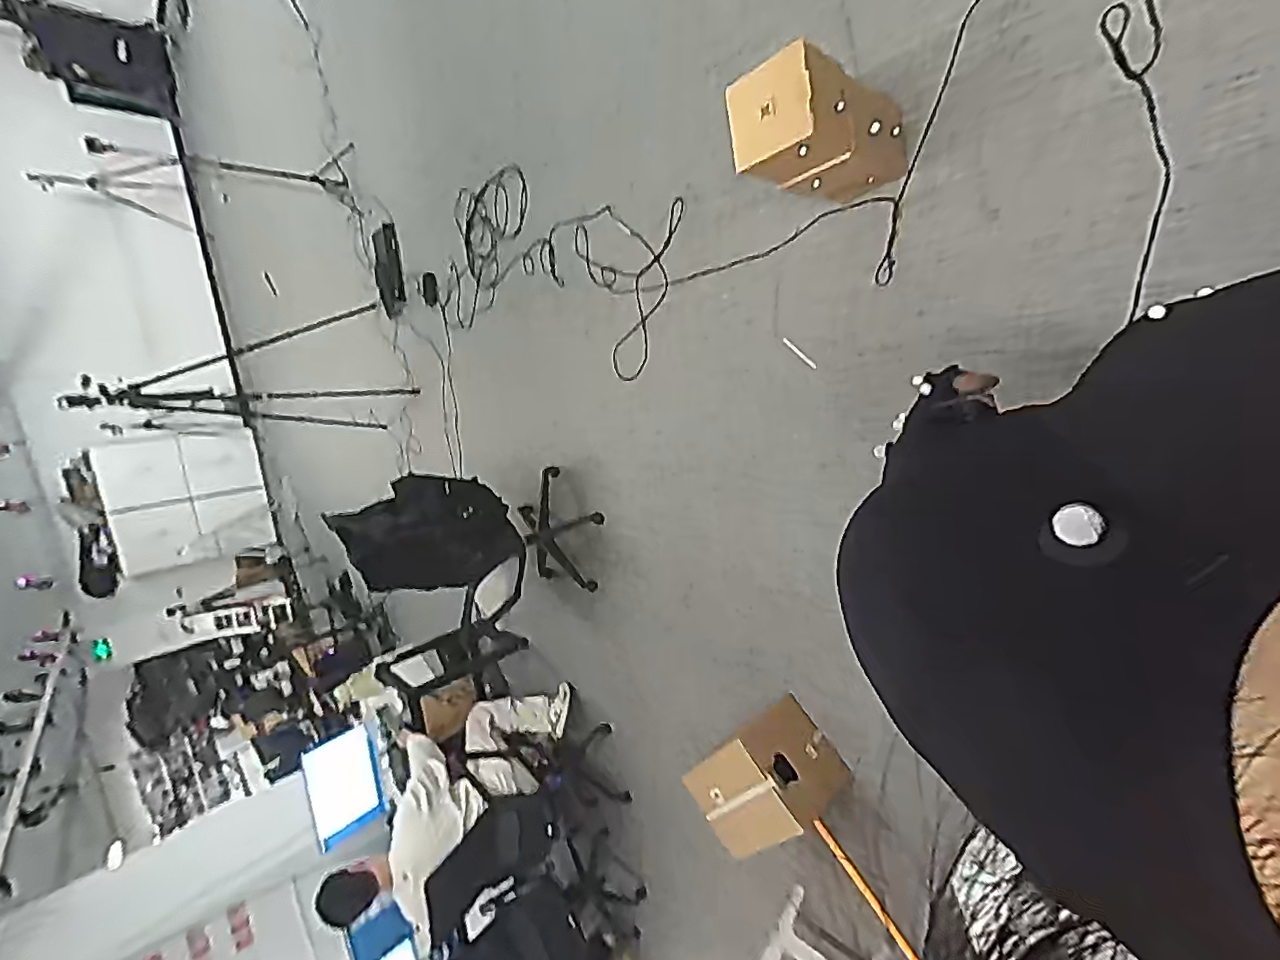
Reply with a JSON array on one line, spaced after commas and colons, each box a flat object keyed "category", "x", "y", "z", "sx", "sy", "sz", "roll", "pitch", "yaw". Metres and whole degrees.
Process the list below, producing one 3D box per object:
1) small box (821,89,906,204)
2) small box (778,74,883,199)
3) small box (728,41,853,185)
[{"category": "small box", "x": 0.533, "y": -0.805, "z": 1.325, "sx": 0.179, "sy": 0.176, "sz": 0.168, "roll": -6, "pitch": 96, "yaw": 48}, {"category": "small box", "x": 0.421, "y": -0.756, "z": 1.215, "sx": 0.179, "sy": 0.176, "sz": 0.168, "roll": -1, "pitch": 101, "yaw": 46}, {"category": "small box", "x": 0.307, "y": -0.730, "z": 1.101, "sx": 0.179, "sy": 0.176, "sz": 0.168, "roll": -3, "pitch": 99, "yaw": 46}]
